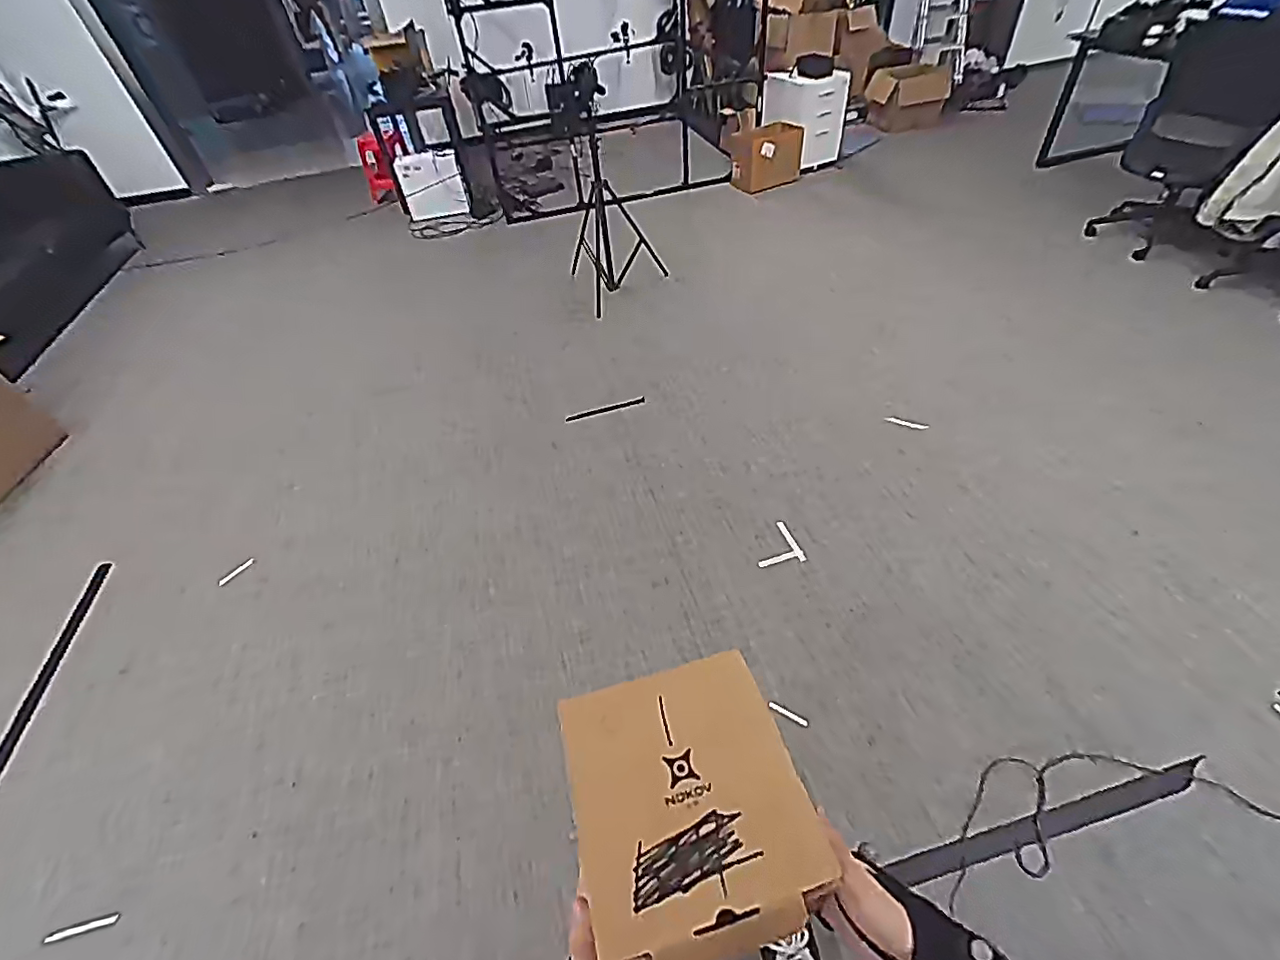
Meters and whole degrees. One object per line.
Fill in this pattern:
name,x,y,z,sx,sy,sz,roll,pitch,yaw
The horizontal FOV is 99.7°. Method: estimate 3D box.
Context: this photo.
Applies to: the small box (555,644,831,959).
small box,0.035,0.276,0.459,0.168,0.176,0.179,-14,44,-8
